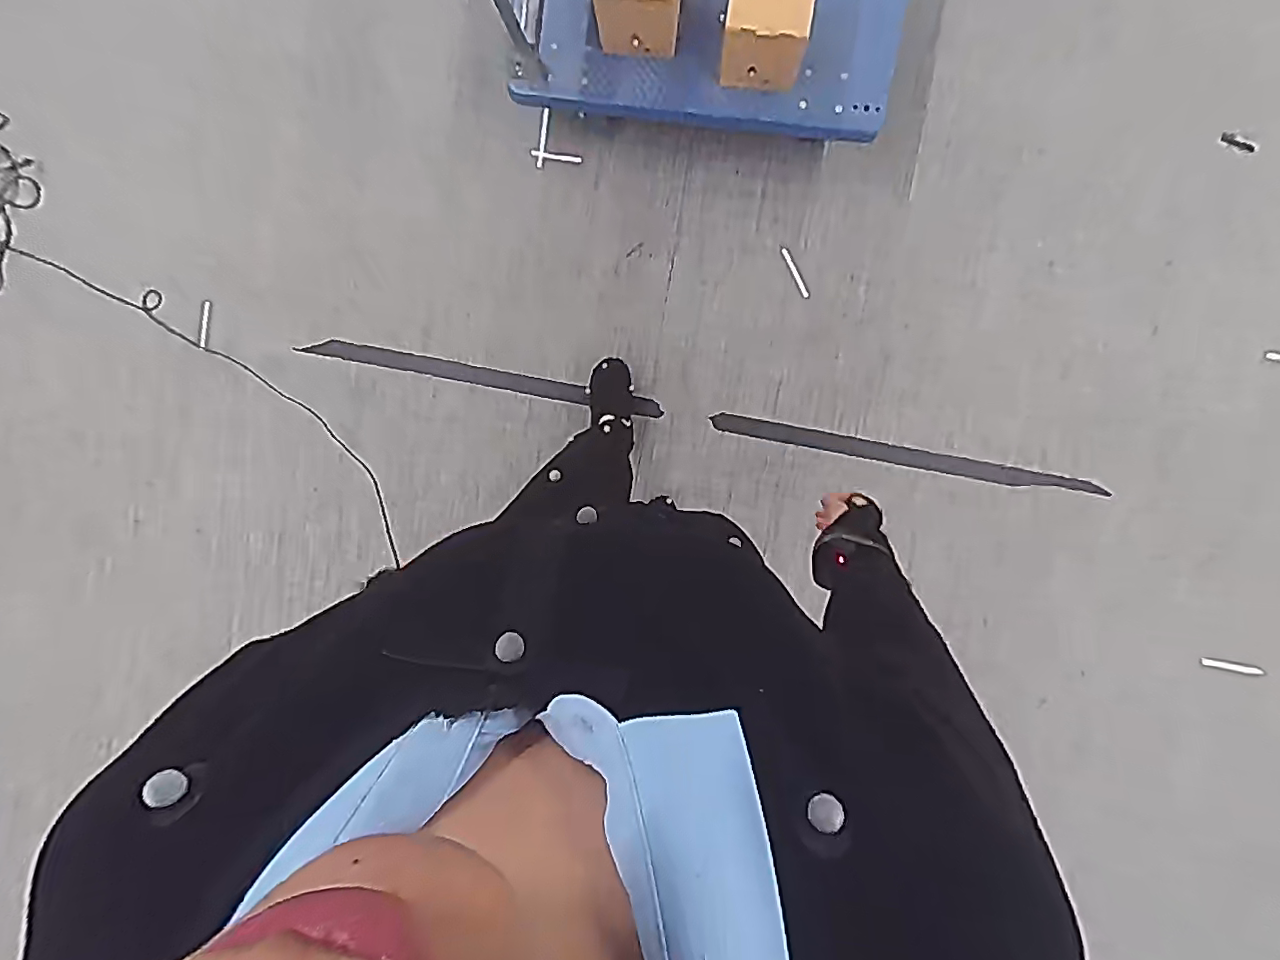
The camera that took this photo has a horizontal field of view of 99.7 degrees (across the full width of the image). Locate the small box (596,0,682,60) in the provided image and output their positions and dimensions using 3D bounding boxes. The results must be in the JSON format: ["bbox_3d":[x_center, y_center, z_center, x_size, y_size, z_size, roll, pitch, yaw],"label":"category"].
[{"bbox_3d":[0.002,-1.034,1.131,0.168,0.176,0.179,8,95,3],"label":"small box"}]

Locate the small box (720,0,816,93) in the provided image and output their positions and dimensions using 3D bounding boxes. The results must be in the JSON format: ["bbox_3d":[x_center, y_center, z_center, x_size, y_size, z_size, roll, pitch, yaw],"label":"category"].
[{"bbox_3d":[0.264,-0.955,1.123,0.168,0.176,0.179,8,95,3],"label":"small box"}]
